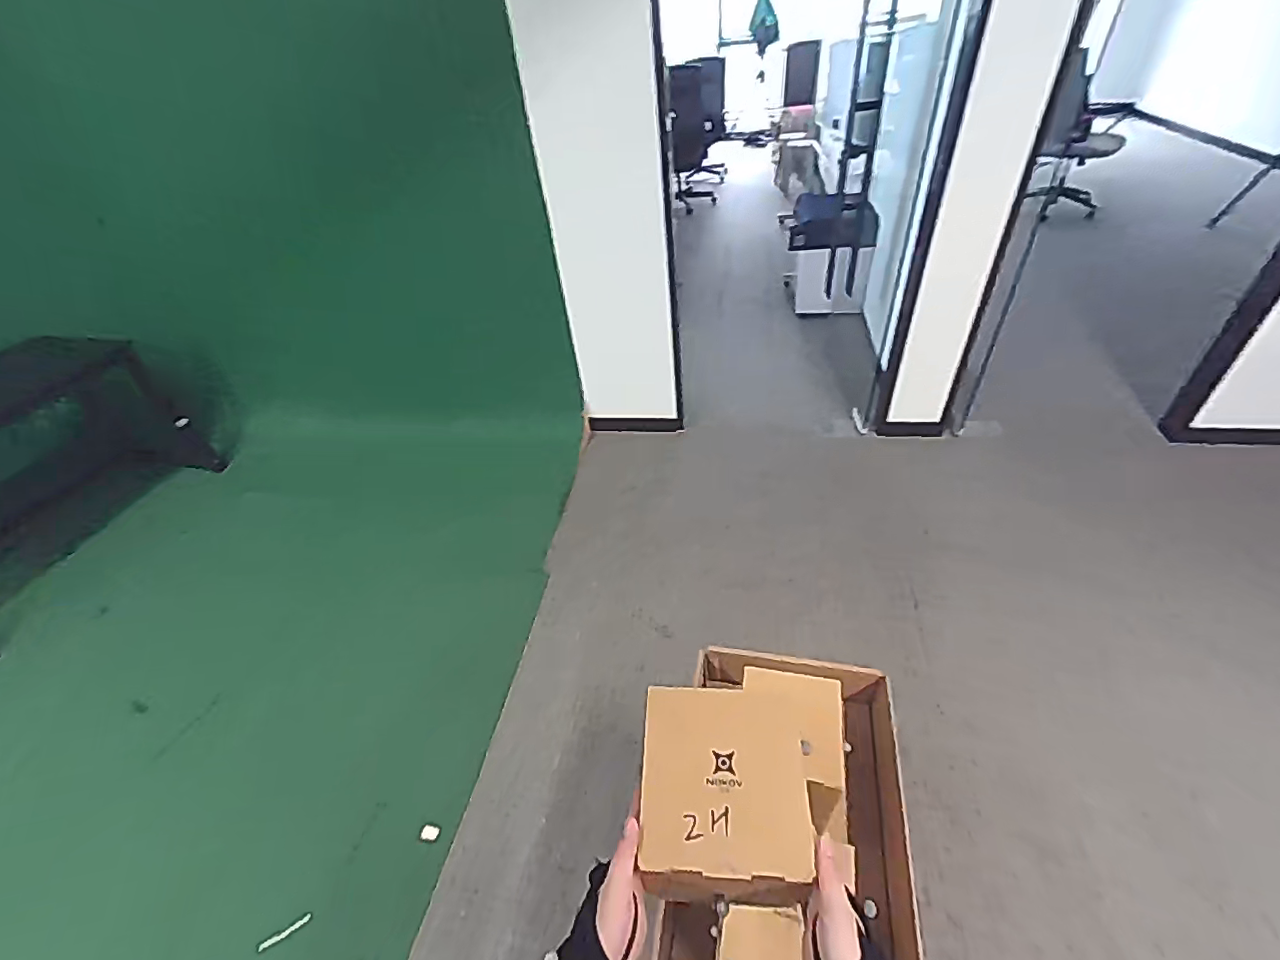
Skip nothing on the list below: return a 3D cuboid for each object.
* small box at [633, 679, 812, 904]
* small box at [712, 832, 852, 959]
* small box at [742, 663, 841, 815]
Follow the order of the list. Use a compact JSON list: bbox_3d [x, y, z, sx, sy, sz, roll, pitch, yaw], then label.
[{"bbox_3d":[0.086,0.348,0.608,0.168,0.176,0.179,0,45,6],"label":"small box"},{"bbox_3d":[0.200,0.614,0.770,0.168,0.176,0.179,8,44,15],"label":"small box"},{"bbox_3d":[0.251,0.452,0.947,0.168,0.176,0.179,6,46,13],"label":"small box"}]
